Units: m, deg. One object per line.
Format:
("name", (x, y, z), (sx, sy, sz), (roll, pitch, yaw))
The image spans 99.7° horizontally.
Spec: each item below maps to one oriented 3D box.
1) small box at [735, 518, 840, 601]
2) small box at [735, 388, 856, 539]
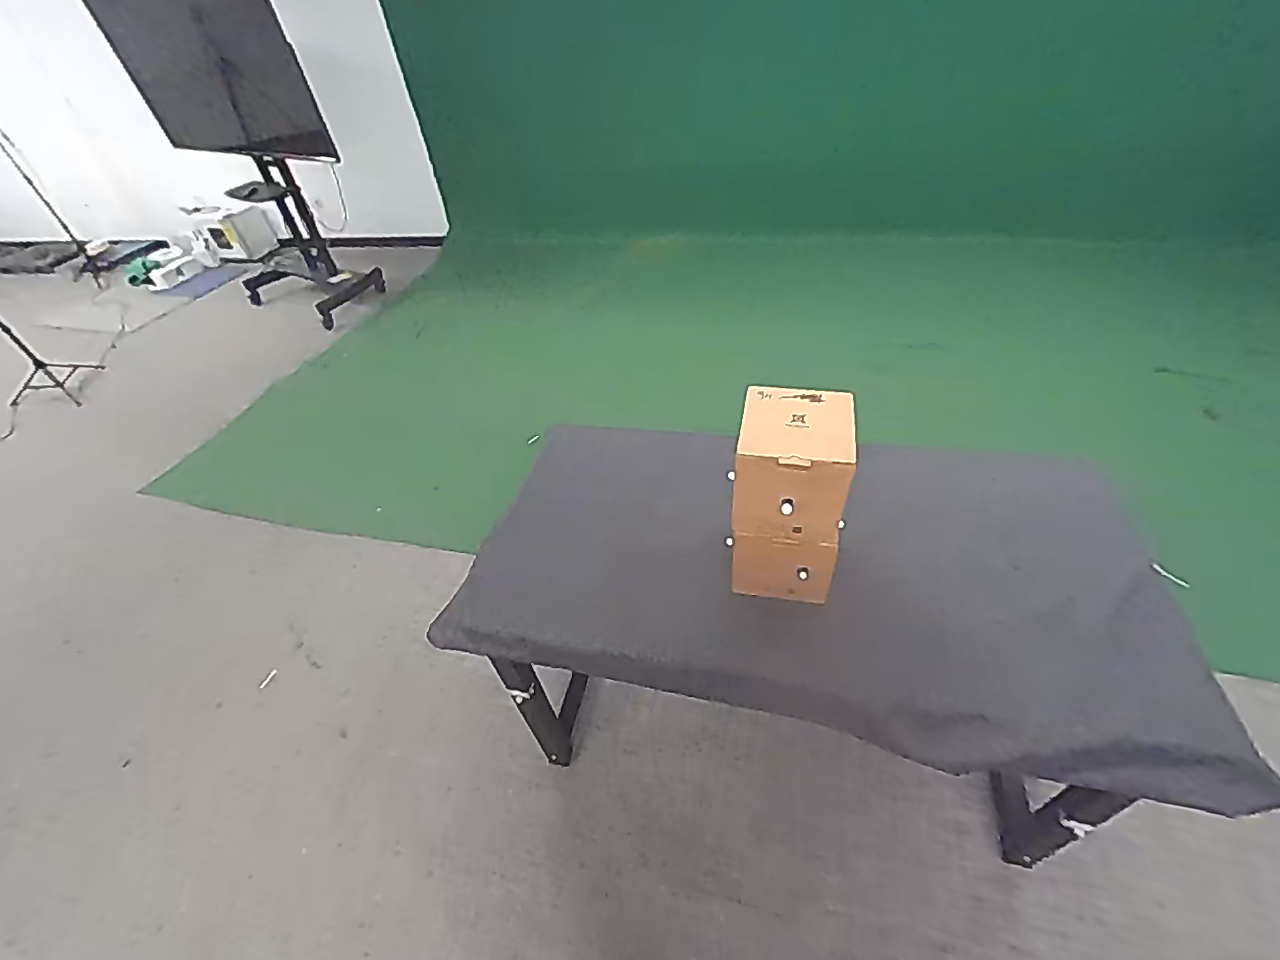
("small box", (0.263, 0.097, 0.980), (0.168, 0.176, 0.179), (6, 44, 12))
("small box", (0.247, -0.025, 0.872), (0.168, 0.176, 0.179), (7, 46, 13))
